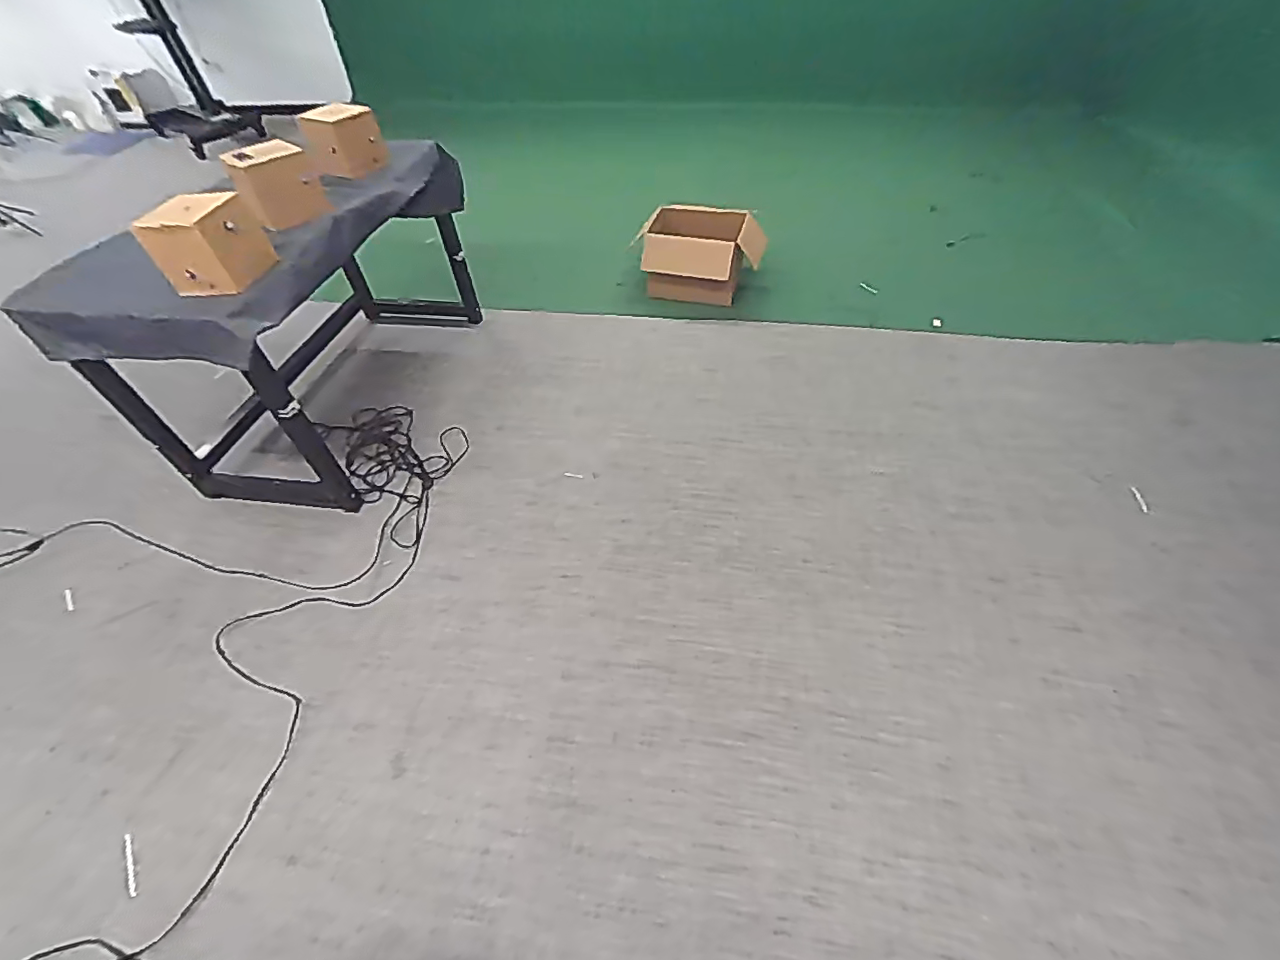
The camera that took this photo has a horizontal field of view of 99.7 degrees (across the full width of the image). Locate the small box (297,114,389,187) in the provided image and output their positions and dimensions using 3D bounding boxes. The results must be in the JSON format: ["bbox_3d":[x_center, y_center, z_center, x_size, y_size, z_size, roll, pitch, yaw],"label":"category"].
[{"bbox_3d":[-0.978,-1.094,1.799,0.179,0.176,0.168,19,51,21],"label":"small box"}]

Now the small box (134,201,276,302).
[{"bbox_3d":[-1.021,-0.545,1.294,0.168,0.176,0.179,0,48,8],"label":"small box"}]
